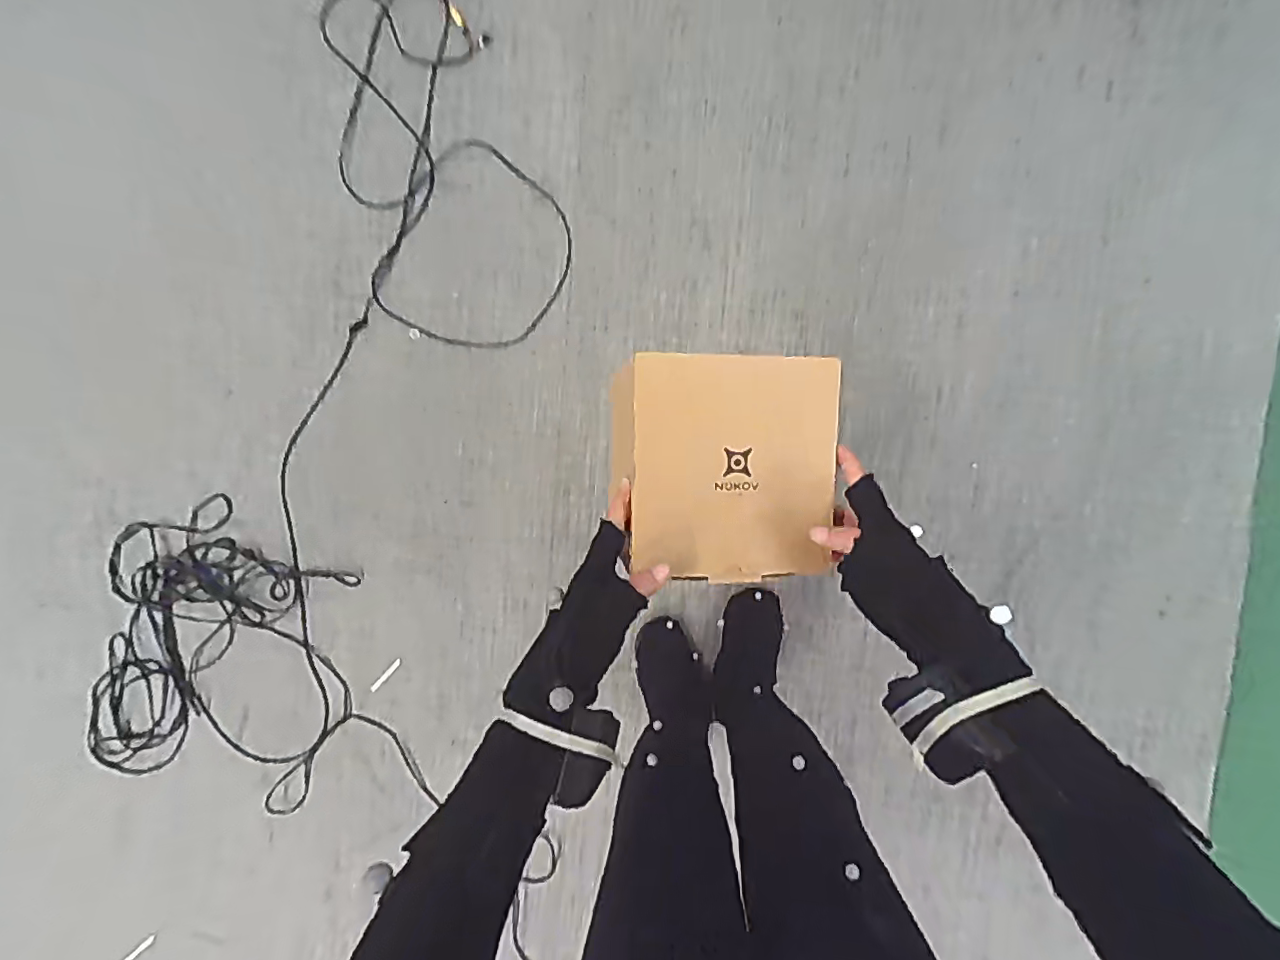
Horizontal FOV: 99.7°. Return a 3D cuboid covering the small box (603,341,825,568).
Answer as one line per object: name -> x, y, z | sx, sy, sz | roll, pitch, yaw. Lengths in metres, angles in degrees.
small box -> 0.054, -0.023, 0.502 | 0.168, 0.176, 0.179 | 0, 95, -8
